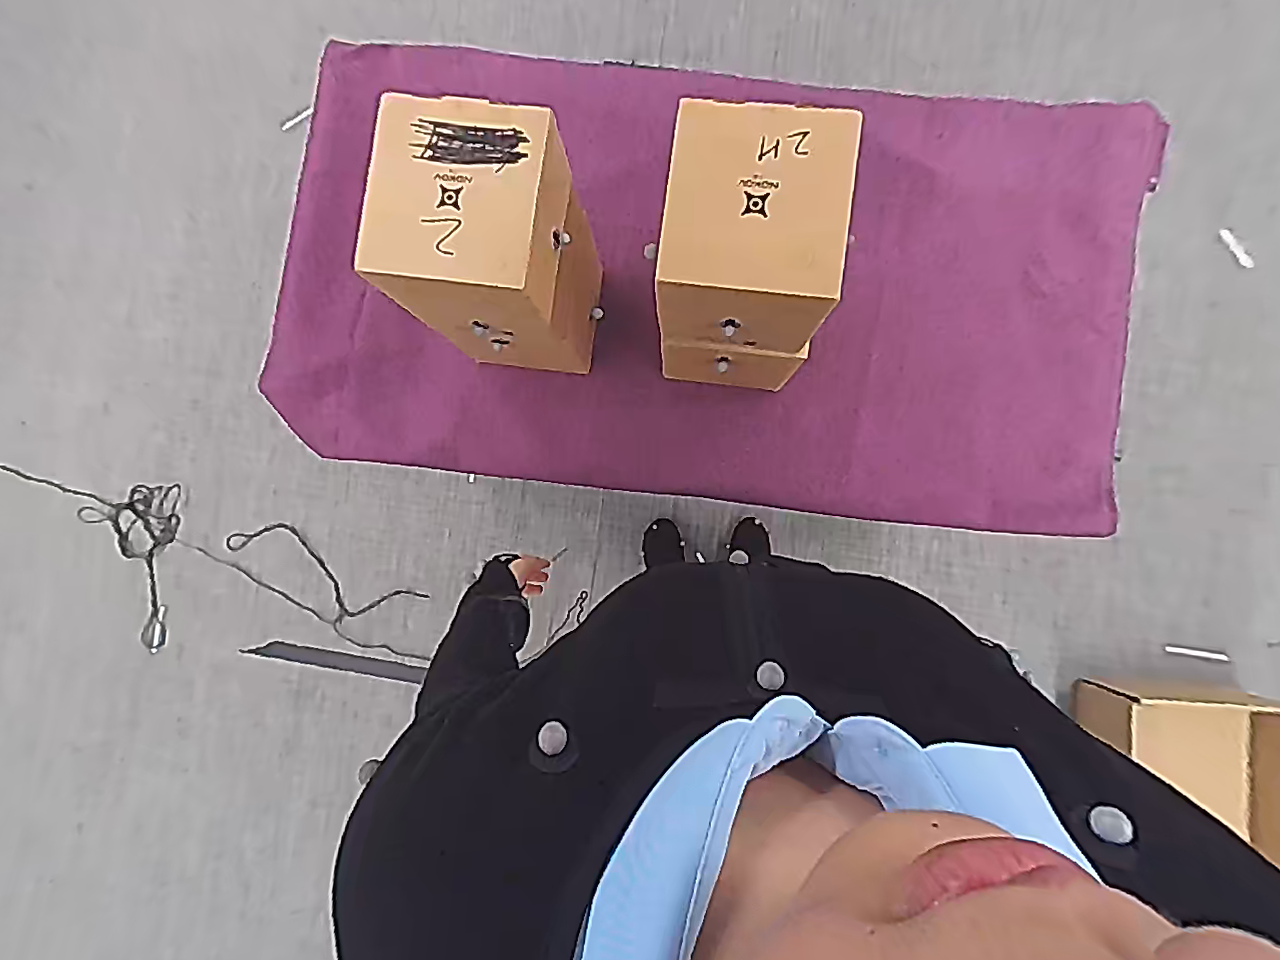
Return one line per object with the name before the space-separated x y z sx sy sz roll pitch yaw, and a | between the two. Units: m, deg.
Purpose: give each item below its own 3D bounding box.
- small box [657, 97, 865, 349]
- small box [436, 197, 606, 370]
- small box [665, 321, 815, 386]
small box | 0.115 -0.249 0.562 0.168 0.176 0.179 8 87 5
small box | -0.152 -0.258 0.745 0.179 0.176 0.168 7 87 4
small box | 0.132 -0.230 0.726 0.179 0.176 0.168 8 87 5
